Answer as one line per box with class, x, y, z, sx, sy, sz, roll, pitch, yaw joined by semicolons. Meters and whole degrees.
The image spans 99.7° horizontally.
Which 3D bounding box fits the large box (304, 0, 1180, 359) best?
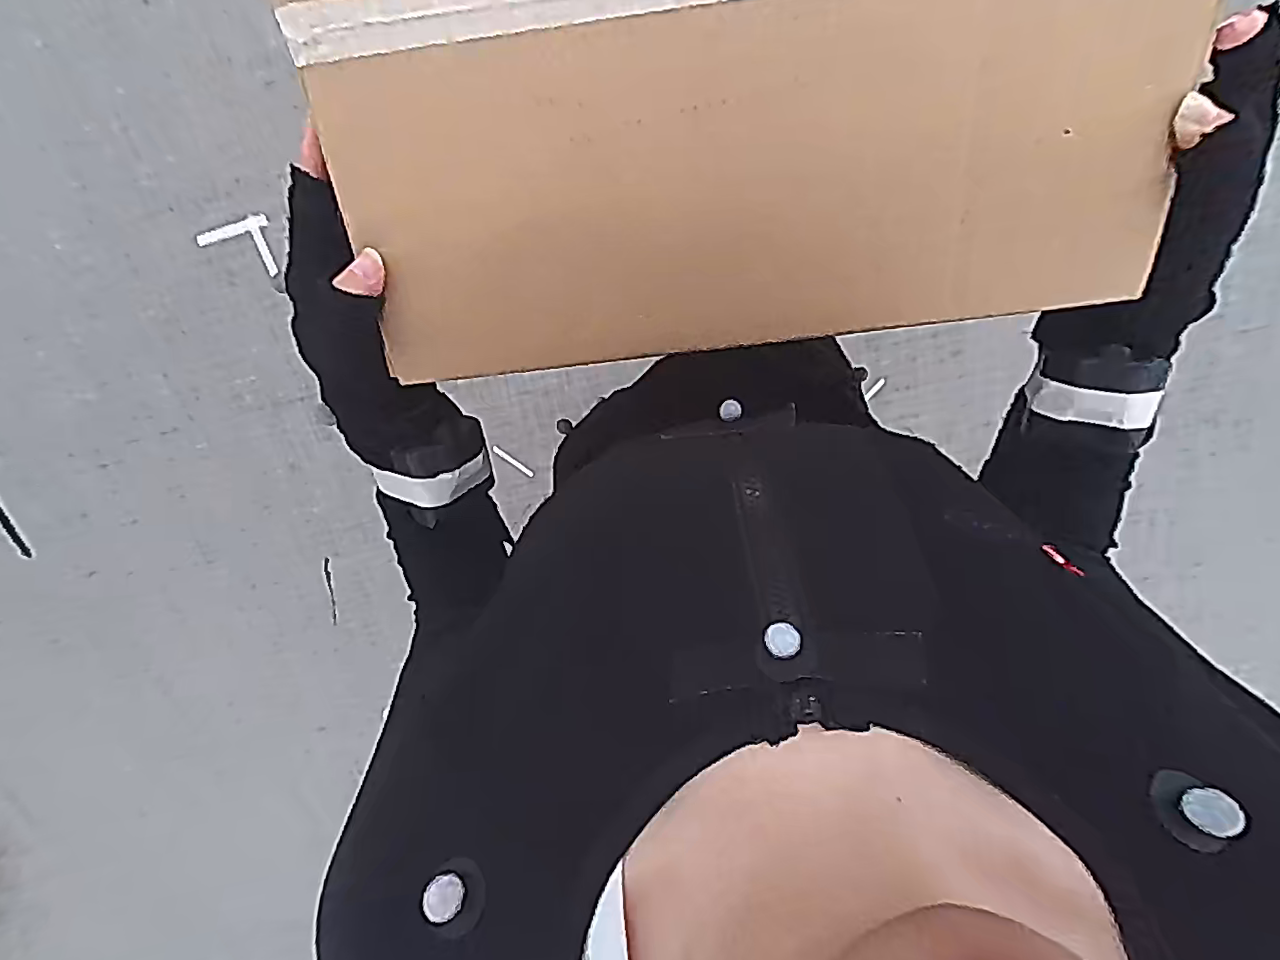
large box;0.041;-0.292;0.375;0.408;0.320;0.320;-6;115;2
